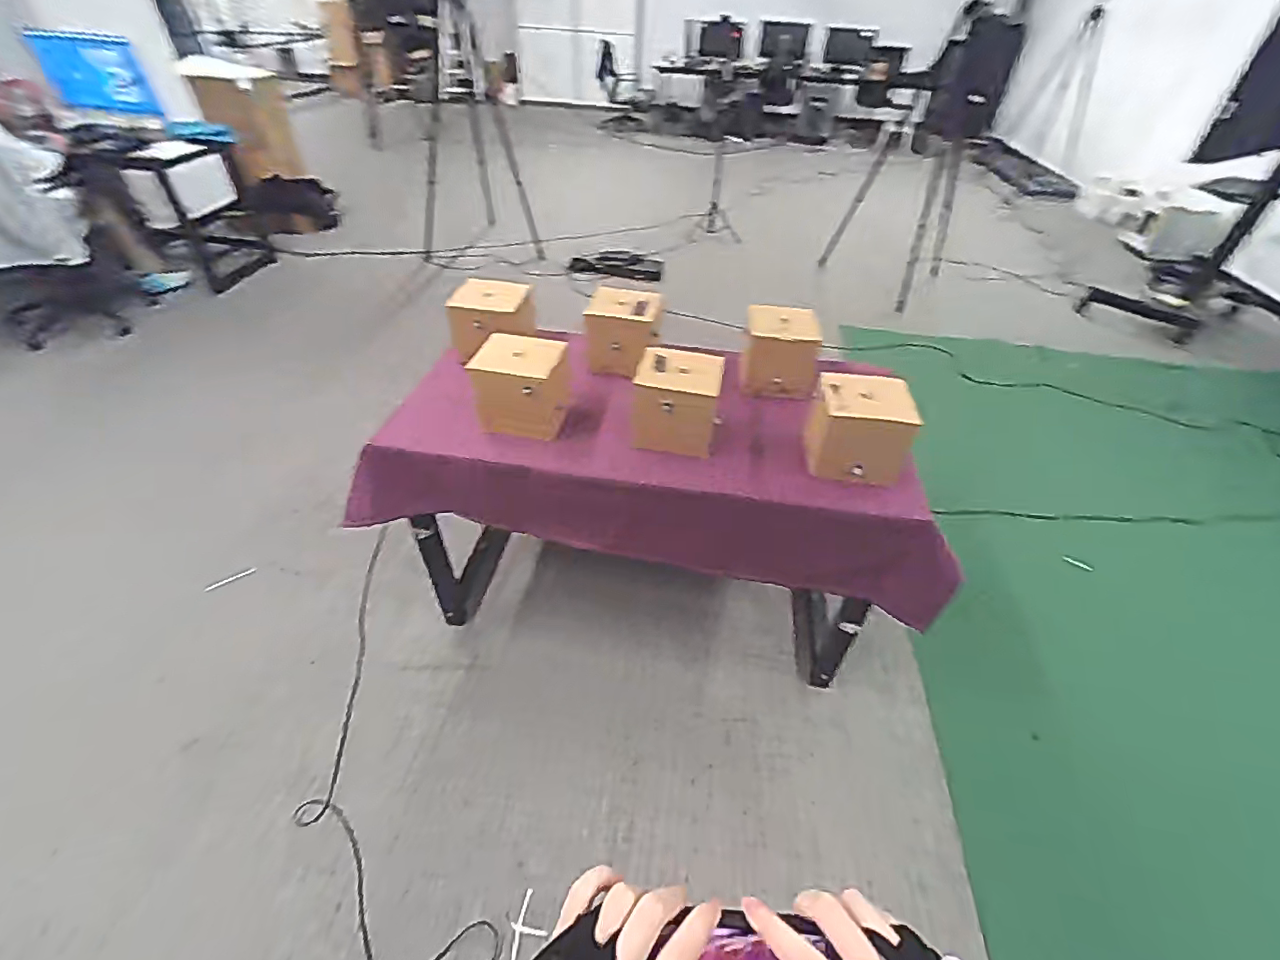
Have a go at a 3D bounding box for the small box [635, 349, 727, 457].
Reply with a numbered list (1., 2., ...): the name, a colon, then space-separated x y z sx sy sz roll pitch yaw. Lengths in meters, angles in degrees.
1. small box: 0.089 -0.172 1.214 0.179 0.176 0.168 11 43 7

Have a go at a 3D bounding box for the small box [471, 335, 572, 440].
1. small box: -0.261 -0.210 1.238 0.179 0.176 0.168 10 42 6

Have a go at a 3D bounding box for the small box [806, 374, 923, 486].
1. small box: 0.470 -0.105 1.161 0.179 0.176 0.168 7 42 5

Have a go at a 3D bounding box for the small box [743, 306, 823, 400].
1. small box: 0.361 -0.329 1.400 0.168 0.176 0.179 6 43 4
